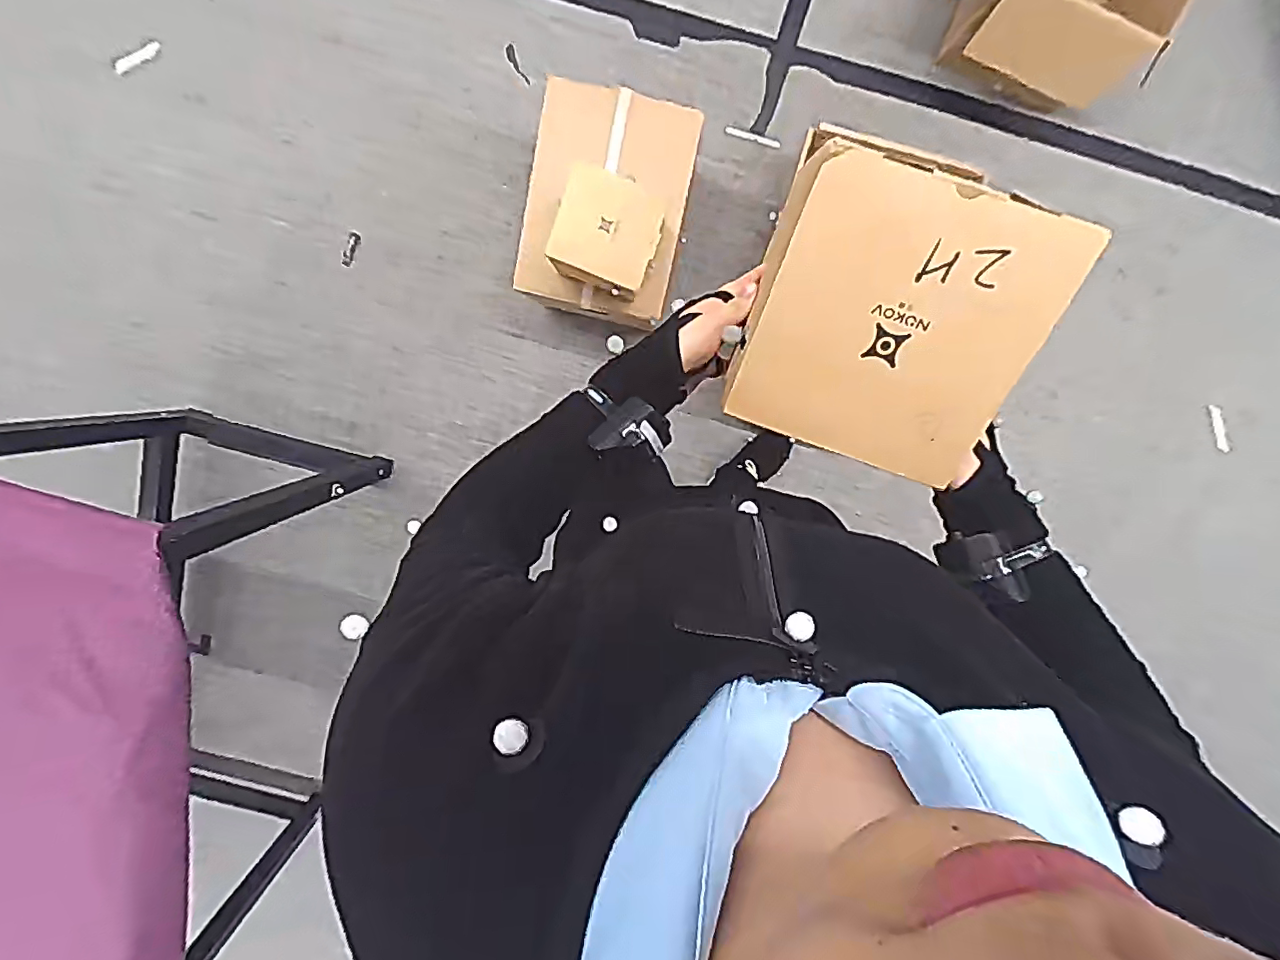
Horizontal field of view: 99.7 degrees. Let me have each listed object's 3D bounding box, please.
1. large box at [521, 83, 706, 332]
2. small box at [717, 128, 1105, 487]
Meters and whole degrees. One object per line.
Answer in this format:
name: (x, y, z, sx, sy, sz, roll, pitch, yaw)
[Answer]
large box: (-0.055, -0.574, 1.220, 0.320, 0.320, 0.408, 13, 102, 0)
small box: (0.169, -0.127, 0.405, 0.168, 0.176, 0.179, 20, 116, 1)
